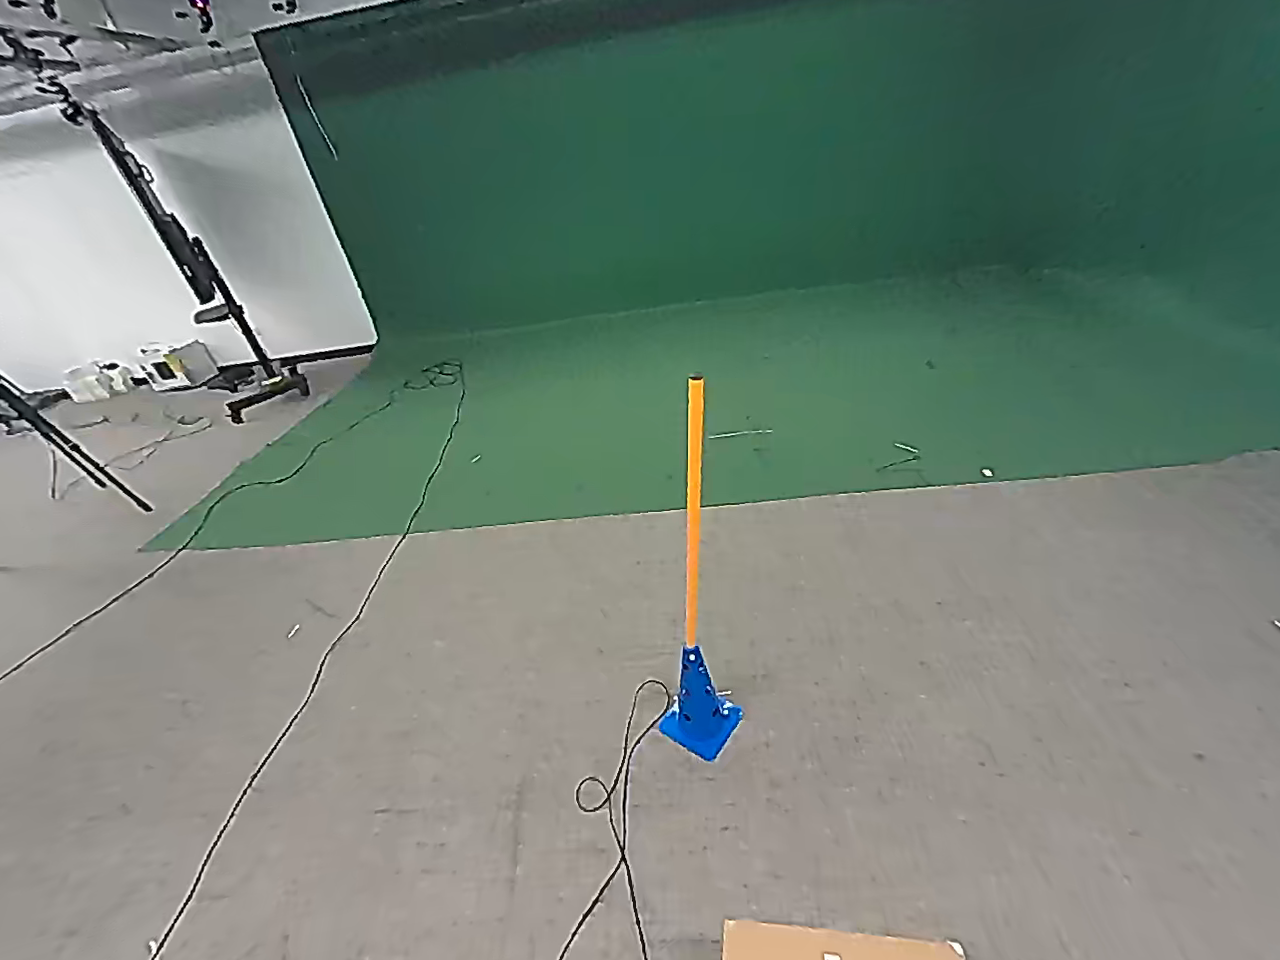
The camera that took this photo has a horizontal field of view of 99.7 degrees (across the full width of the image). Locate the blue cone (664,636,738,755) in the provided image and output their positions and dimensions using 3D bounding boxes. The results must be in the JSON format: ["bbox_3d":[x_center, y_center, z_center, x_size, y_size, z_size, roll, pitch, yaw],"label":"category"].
[{"bbox_3d":[0.164,0.587,1.561,0.192,0.380,0.193,16,40,33],"label":"blue cone"}]
